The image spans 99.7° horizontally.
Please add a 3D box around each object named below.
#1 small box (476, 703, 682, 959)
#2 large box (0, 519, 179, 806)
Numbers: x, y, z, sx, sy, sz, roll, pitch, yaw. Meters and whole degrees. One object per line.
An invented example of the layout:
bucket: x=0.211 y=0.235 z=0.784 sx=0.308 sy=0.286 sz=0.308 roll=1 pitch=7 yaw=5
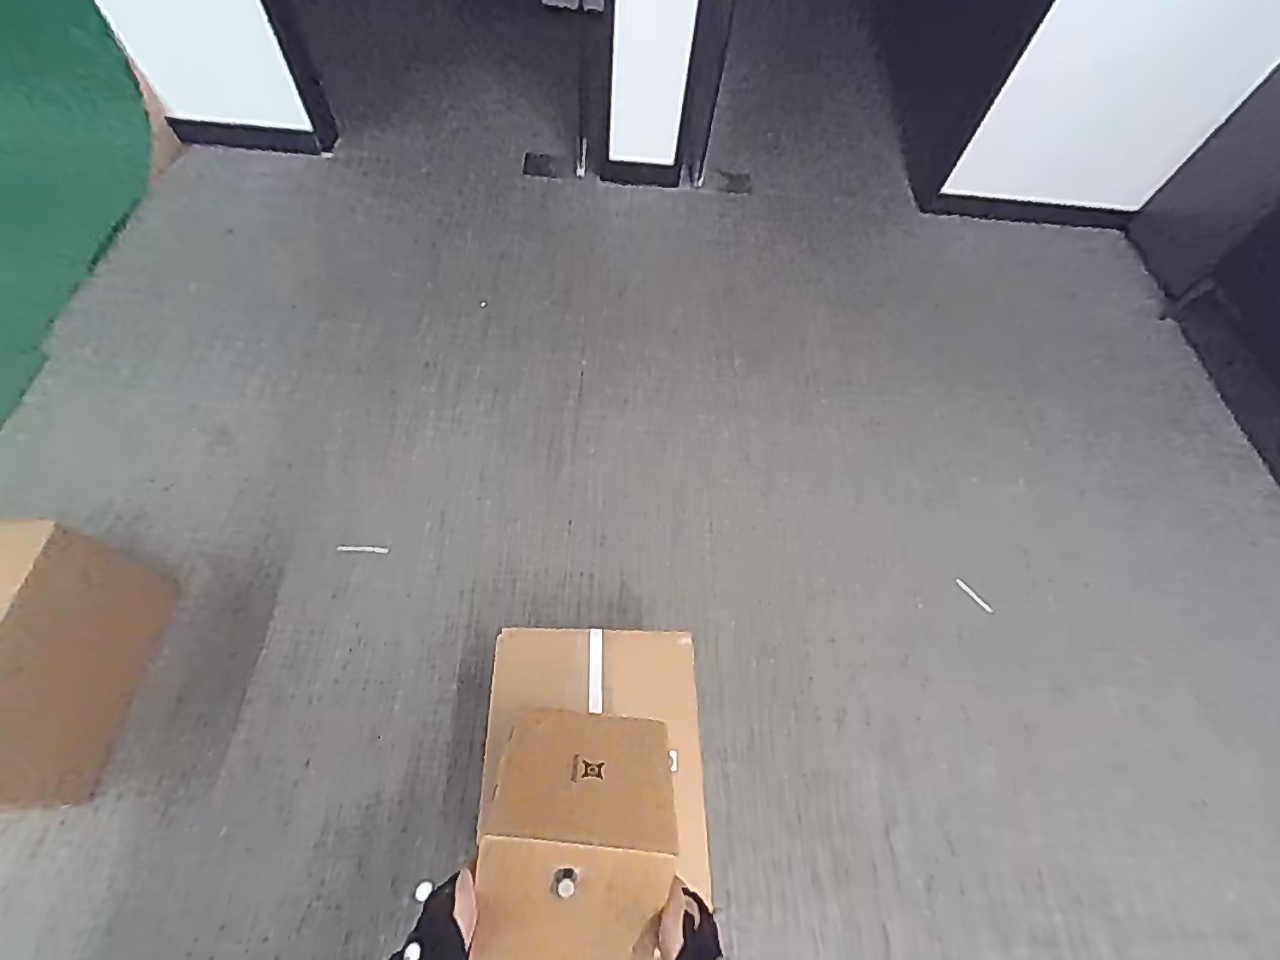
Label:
small box: x=-0.062 y=0.370 z=0.570 sx=0.179 sy=0.176 sz=0.168 roll=8 pitch=17 yaw=-3
large box: x=-1.085 y=0.308 z=0.887 sx=0.320 sy=0.320 sz=0.408 roll=2 pitch=60 yaw=-5
